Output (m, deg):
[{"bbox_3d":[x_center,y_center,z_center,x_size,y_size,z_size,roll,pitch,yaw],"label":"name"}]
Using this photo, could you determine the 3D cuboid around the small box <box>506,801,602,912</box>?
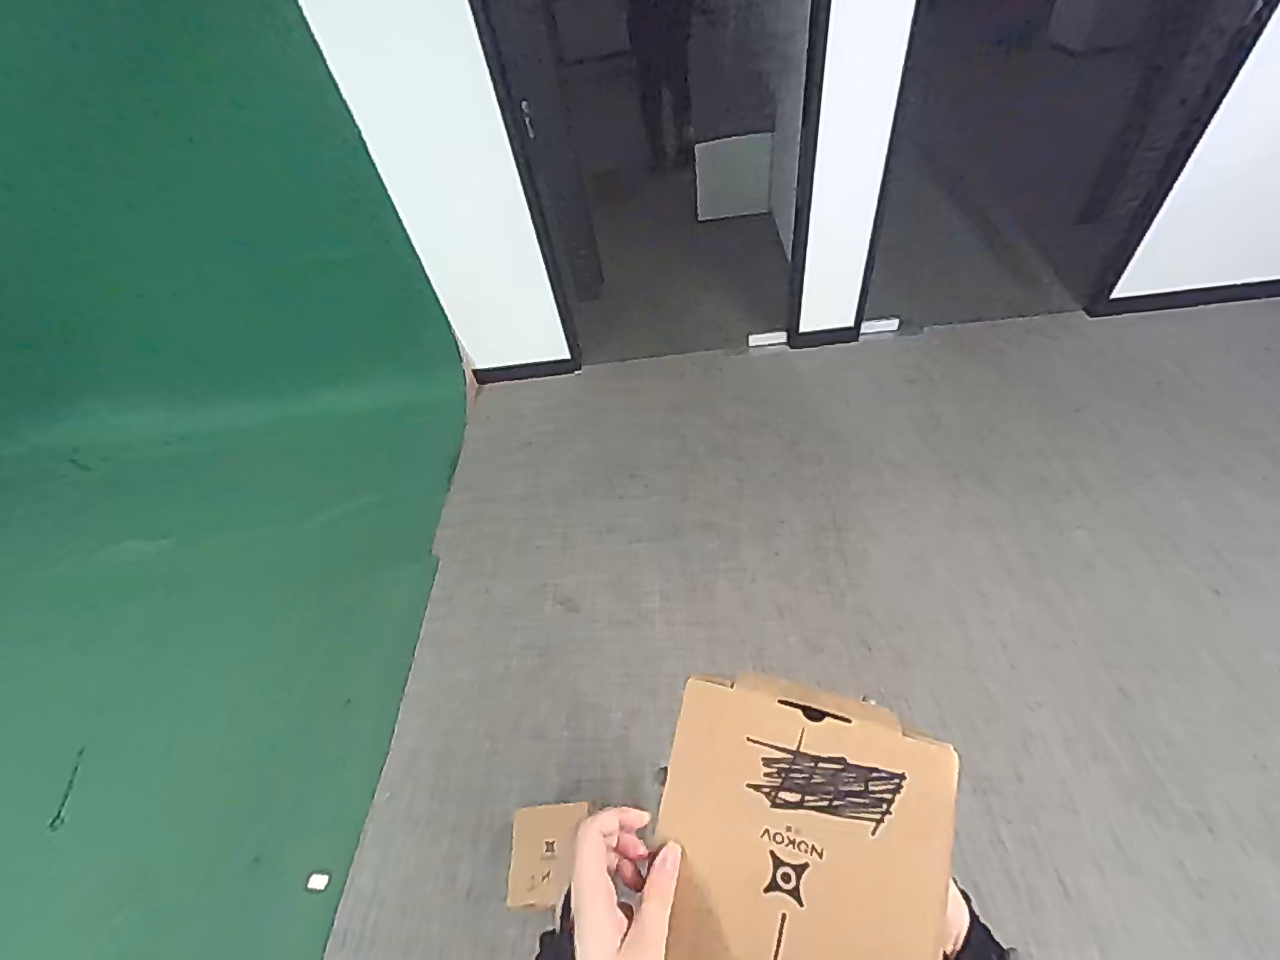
[{"bbox_3d":[-0.180,0.824,1.182,0.168,0.176,0.179,-7,49,4],"label":"small box"}]

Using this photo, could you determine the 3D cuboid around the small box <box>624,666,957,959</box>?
[{"bbox_3d":[0.106,0.243,0.388,0.168,0.176,0.179,10,75,19],"label":"small box"}]
